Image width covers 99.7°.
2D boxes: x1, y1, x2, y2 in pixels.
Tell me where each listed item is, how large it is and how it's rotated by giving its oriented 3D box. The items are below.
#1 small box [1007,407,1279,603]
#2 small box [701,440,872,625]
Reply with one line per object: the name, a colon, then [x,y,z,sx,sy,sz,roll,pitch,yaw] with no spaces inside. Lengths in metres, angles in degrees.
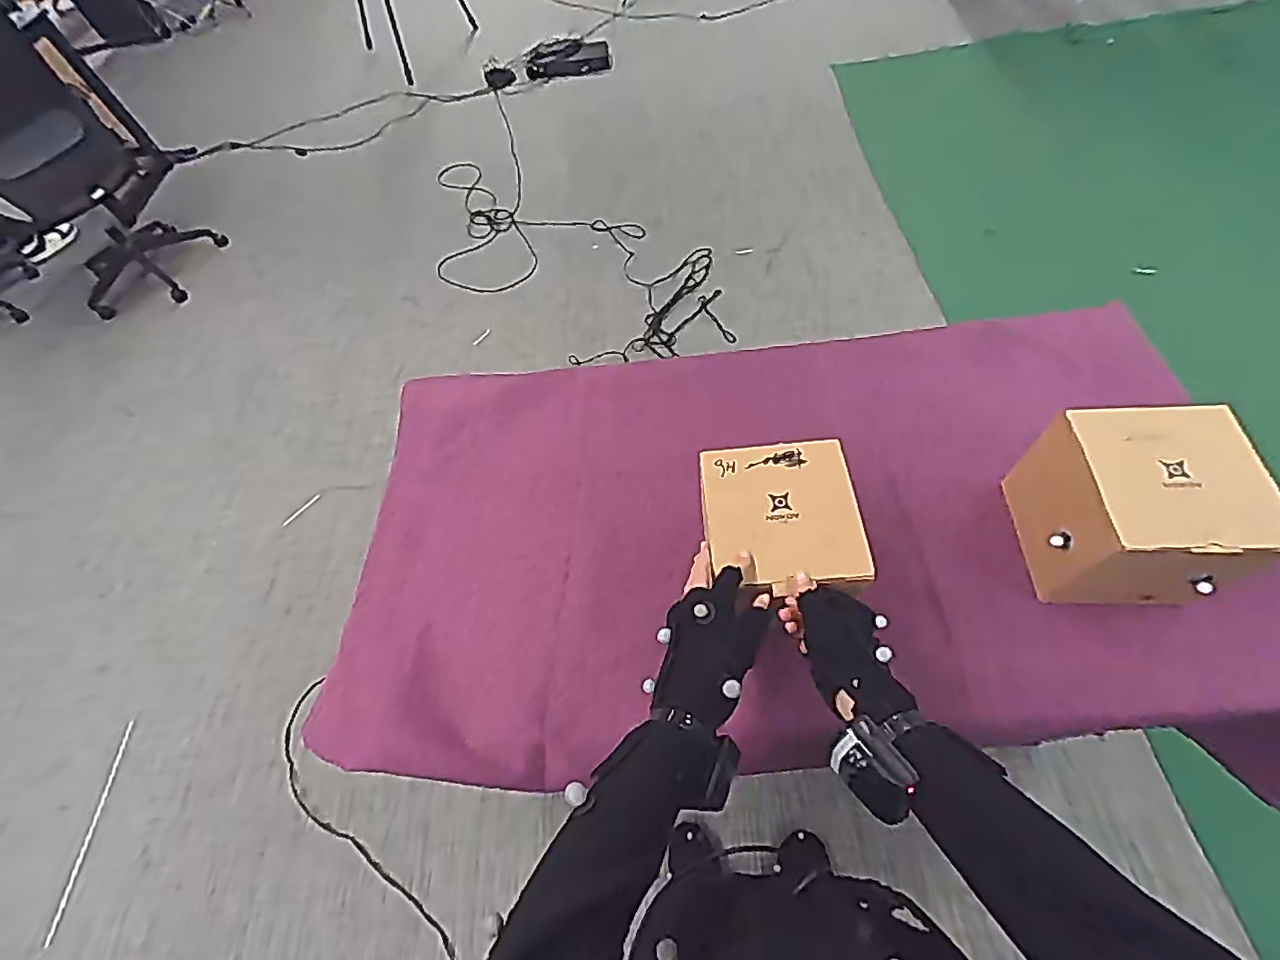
small box: [0.568,0.035,0.629,0.168,0.176,0.179,0,59,8]
small box: [0.166,0.074,0.666,0.168,0.176,0.179,-5,59,5]
